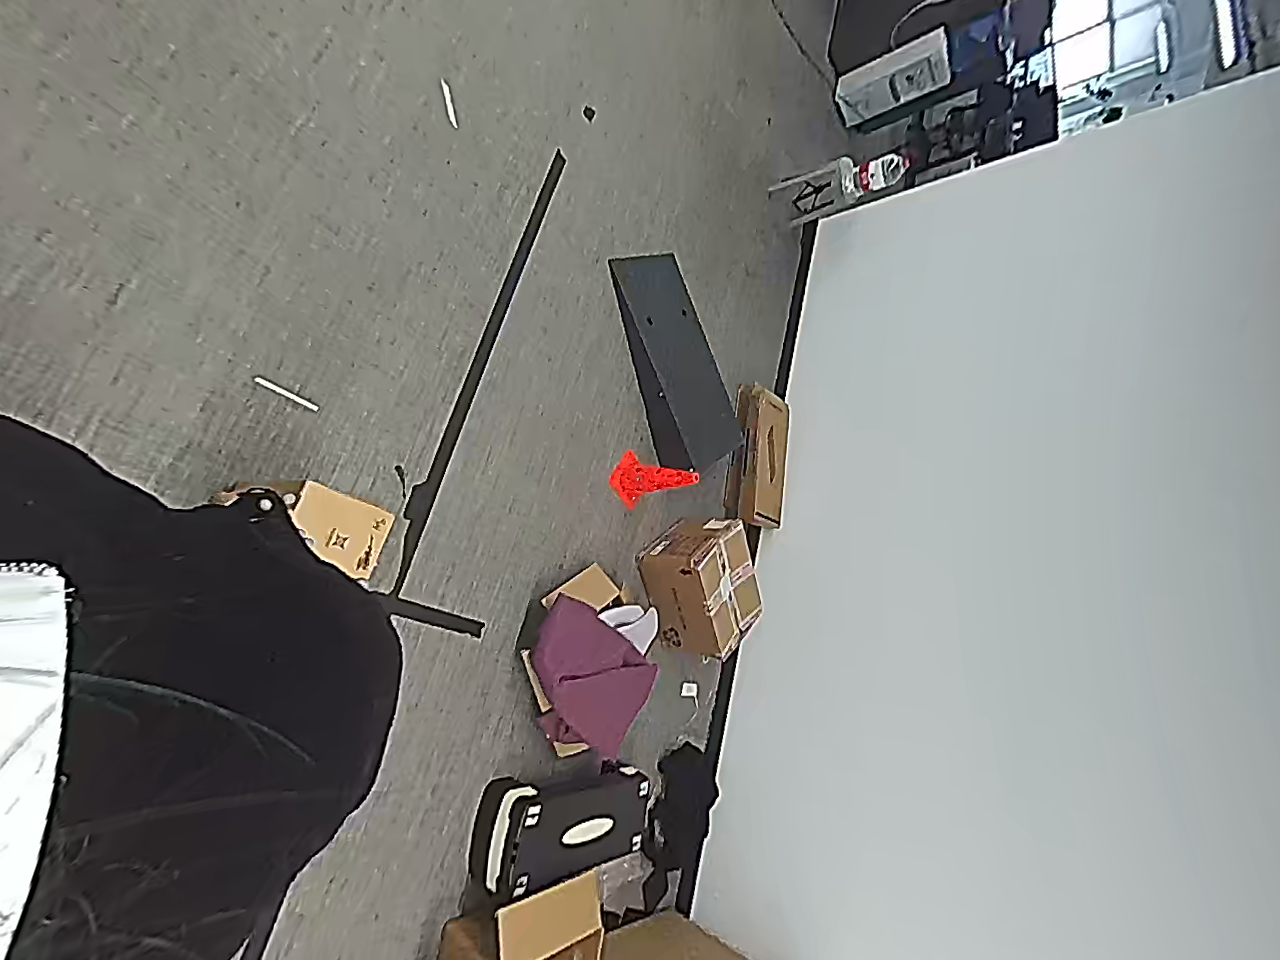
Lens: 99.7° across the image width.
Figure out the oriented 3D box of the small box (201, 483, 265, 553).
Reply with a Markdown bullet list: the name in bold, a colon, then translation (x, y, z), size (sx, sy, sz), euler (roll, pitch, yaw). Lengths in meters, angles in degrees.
- **small box**: translation (-0.867, 0.115, 1.255), size (0.179, 0.176, 0.168), euler (34, 63, -43)

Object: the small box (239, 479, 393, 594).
- **small box**: translation (-0.621, 0.111, 1.036), size (0.179, 0.176, 0.168), euler (35, 62, -43)

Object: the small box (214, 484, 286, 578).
- **small box**: translation (-0.747, 0.115, 1.141), size (0.179, 0.176, 0.168), euler (35, 62, -44)
